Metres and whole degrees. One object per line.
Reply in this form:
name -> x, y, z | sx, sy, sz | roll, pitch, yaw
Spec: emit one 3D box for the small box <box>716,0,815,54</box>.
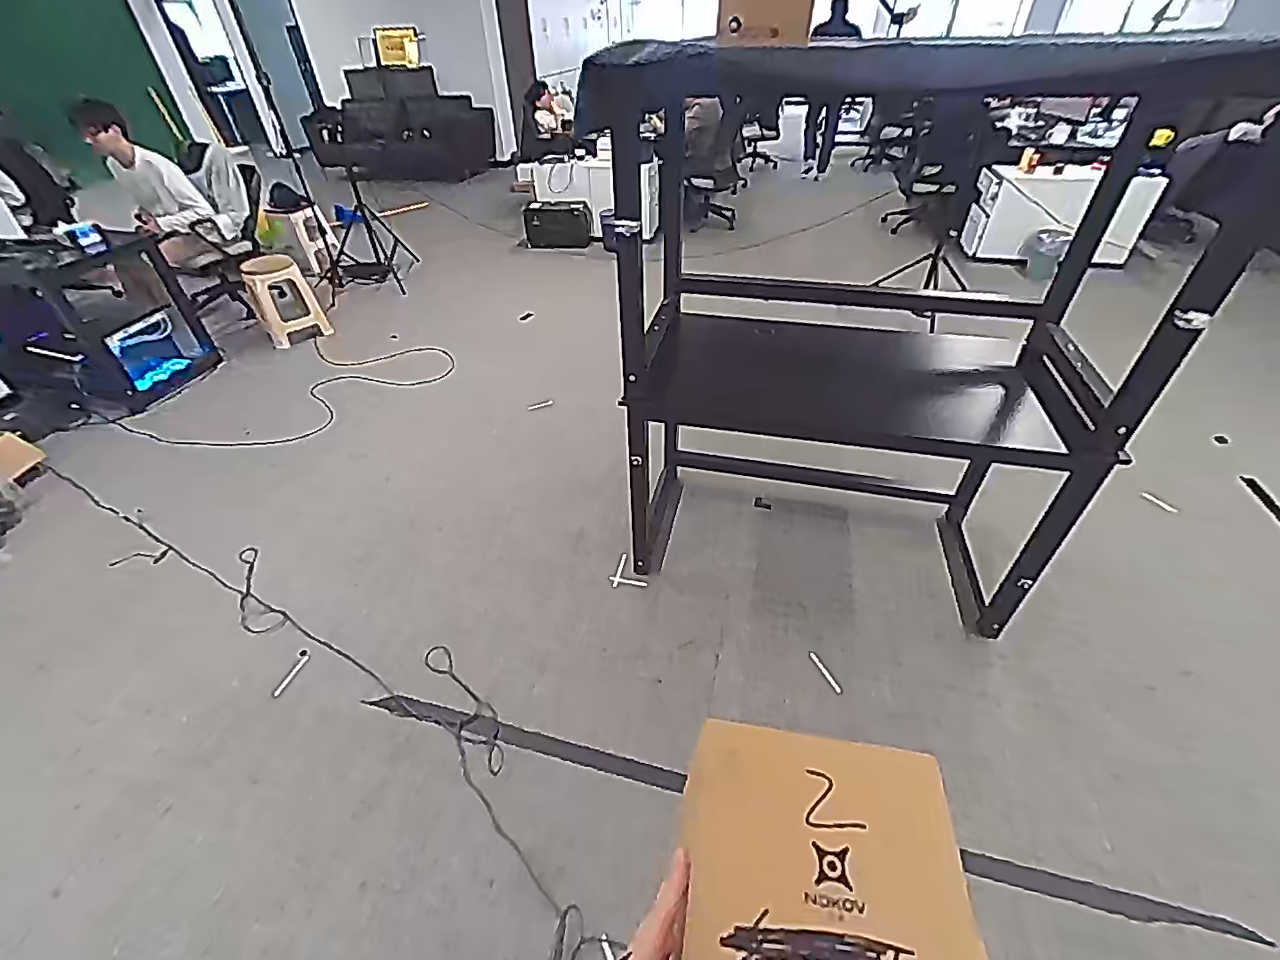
small box -> 0.230, -0.877, 0.970 | 0.168, 0.176, 0.179 | 8, 39, 9
